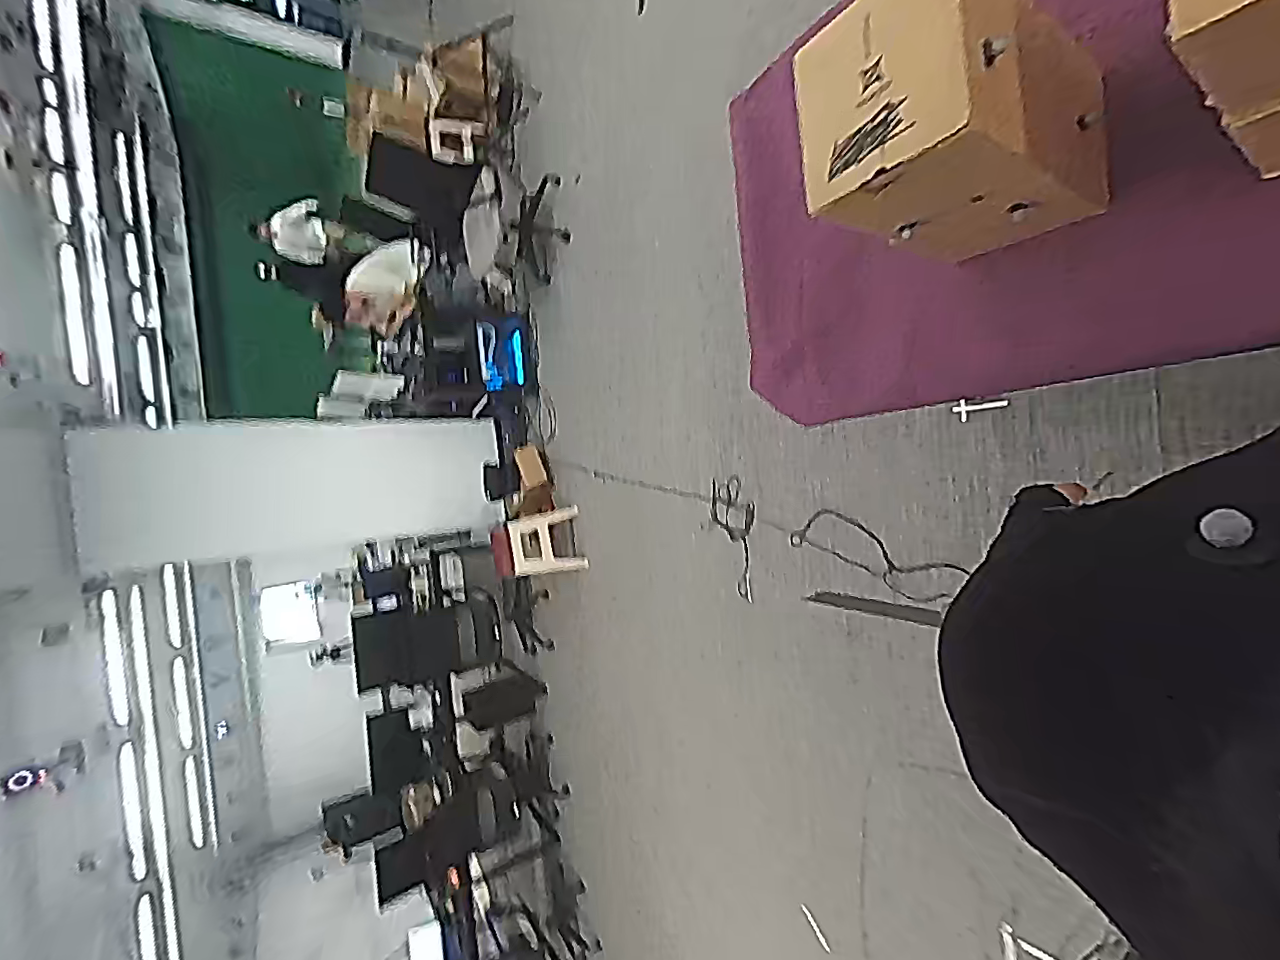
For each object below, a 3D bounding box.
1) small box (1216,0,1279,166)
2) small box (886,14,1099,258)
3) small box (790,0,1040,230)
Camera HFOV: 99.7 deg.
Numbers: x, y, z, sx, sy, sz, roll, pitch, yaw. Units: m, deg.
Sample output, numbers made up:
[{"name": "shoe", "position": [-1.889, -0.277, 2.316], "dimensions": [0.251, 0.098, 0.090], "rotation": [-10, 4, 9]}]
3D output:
[{"name": "small box", "position": [0.574, -0.379, 0.412], "dimensions": [0.168, 0.176, 0.179], "rotation": [-3, 92, 56]}, {"name": "small box", "position": [0.416, -0.384, 0.645], "dimensions": [0.179, 0.176, 0.168], "rotation": [-2, 93, 56]}, {"name": "small box", "position": [0.280, -0.377, 0.554], "dimensions": [0.168, 0.176, 0.179], "rotation": [-5, 90, 56]}]
